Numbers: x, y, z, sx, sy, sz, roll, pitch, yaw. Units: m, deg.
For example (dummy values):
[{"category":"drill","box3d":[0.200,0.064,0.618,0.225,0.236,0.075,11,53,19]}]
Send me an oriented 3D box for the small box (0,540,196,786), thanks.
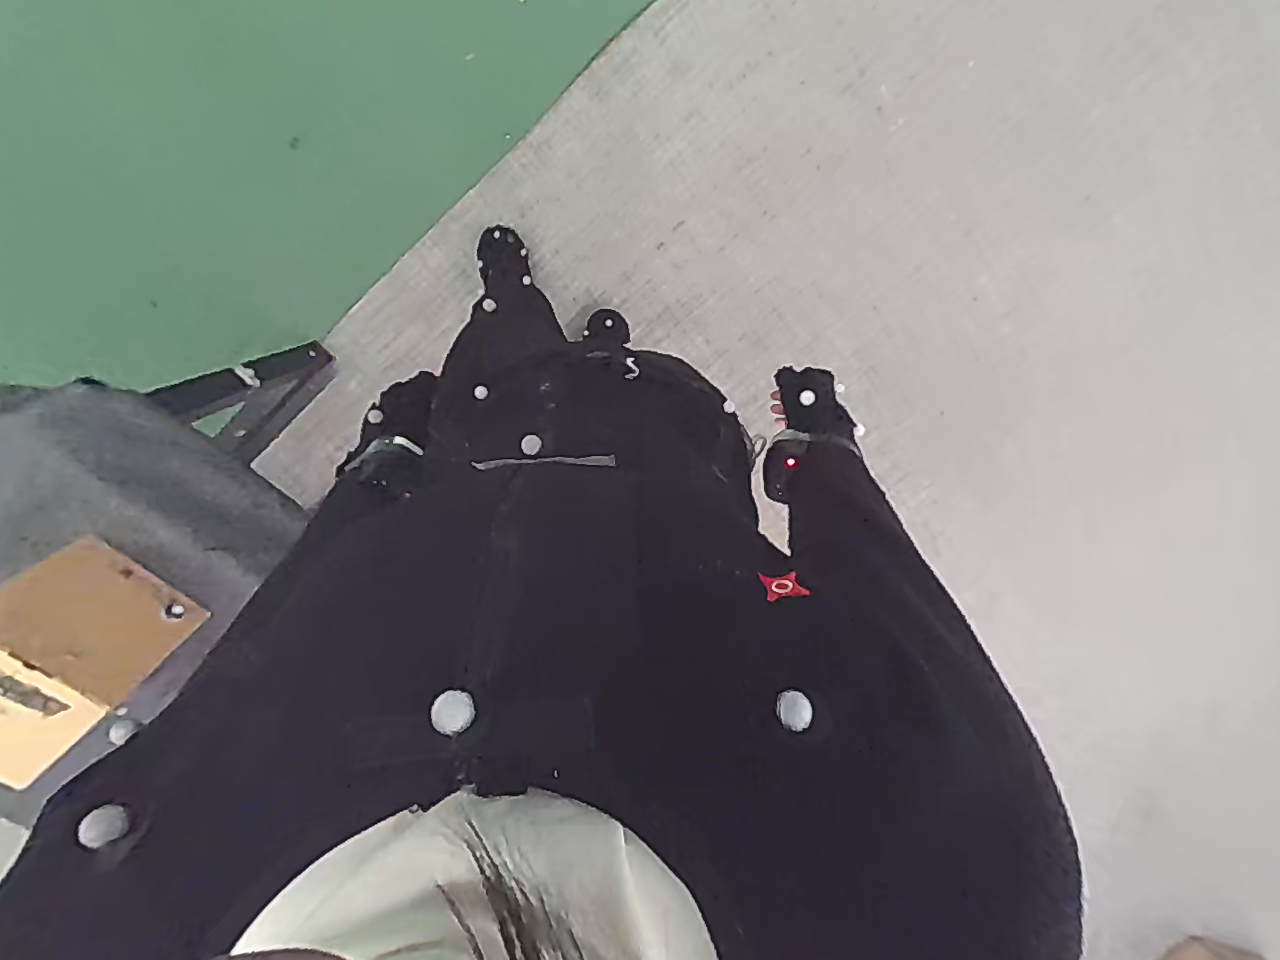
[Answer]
[{"category":"small box","box3d":[-0.678,0.202,0.630,0.179,0.176,0.168,-38,111,12]}]
